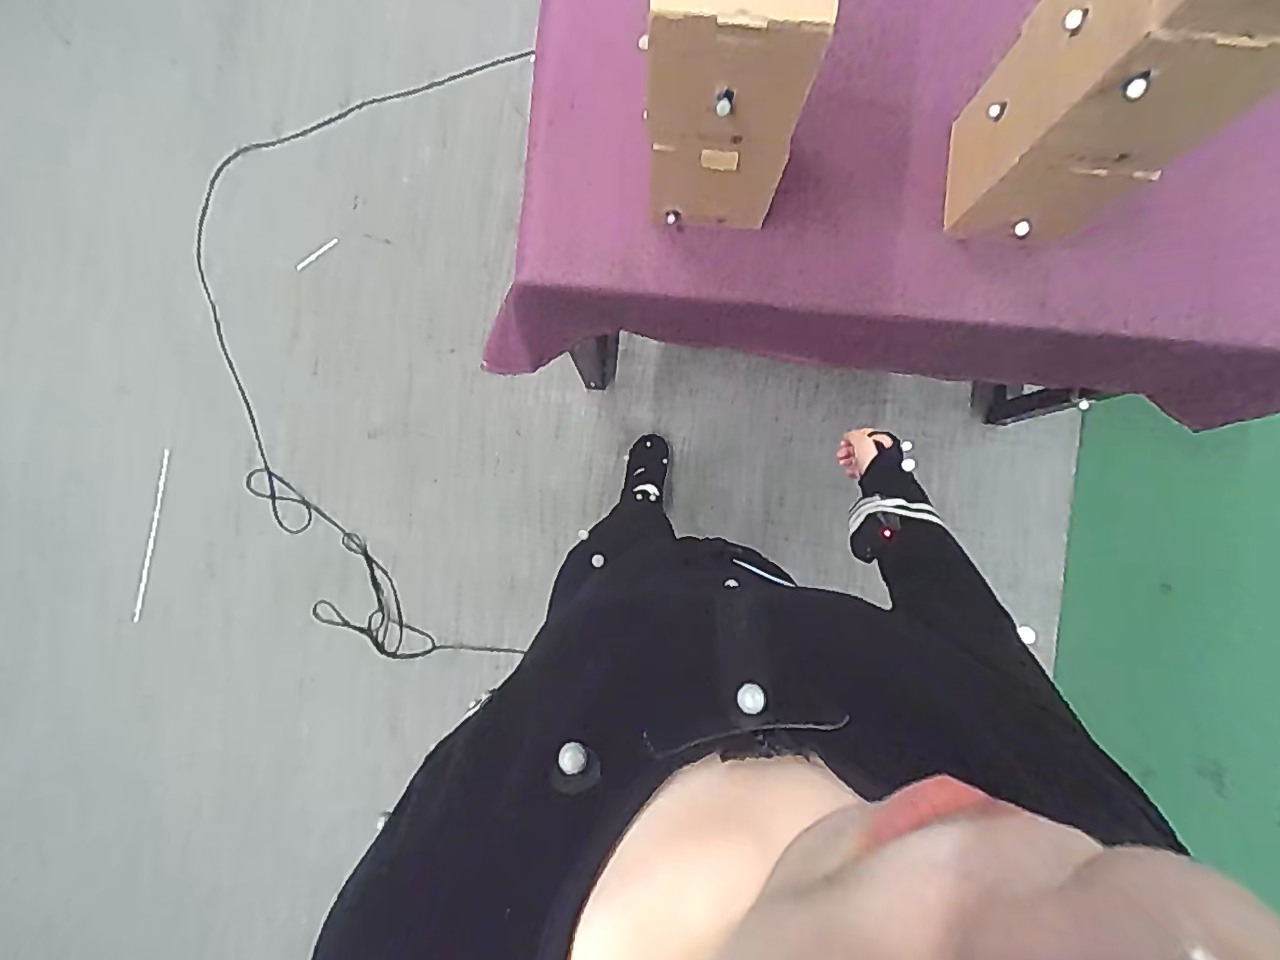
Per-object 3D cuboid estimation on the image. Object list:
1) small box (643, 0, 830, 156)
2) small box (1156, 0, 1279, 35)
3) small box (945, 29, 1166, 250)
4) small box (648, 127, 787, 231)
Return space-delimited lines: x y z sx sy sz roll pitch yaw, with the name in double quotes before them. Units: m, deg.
"small box" 0.094 -0.473 0.560 0.168 0.176 0.179 6 87 0
"small box" 0.527 -0.469 0.389 0.168 0.176 0.179 5 85 1
"small box" 0.532 -0.436 0.716 0.168 0.176 0.179 7 86 2
"small box" 0.099 -0.460 0.724 0.168 0.176 0.179 4 85 1
